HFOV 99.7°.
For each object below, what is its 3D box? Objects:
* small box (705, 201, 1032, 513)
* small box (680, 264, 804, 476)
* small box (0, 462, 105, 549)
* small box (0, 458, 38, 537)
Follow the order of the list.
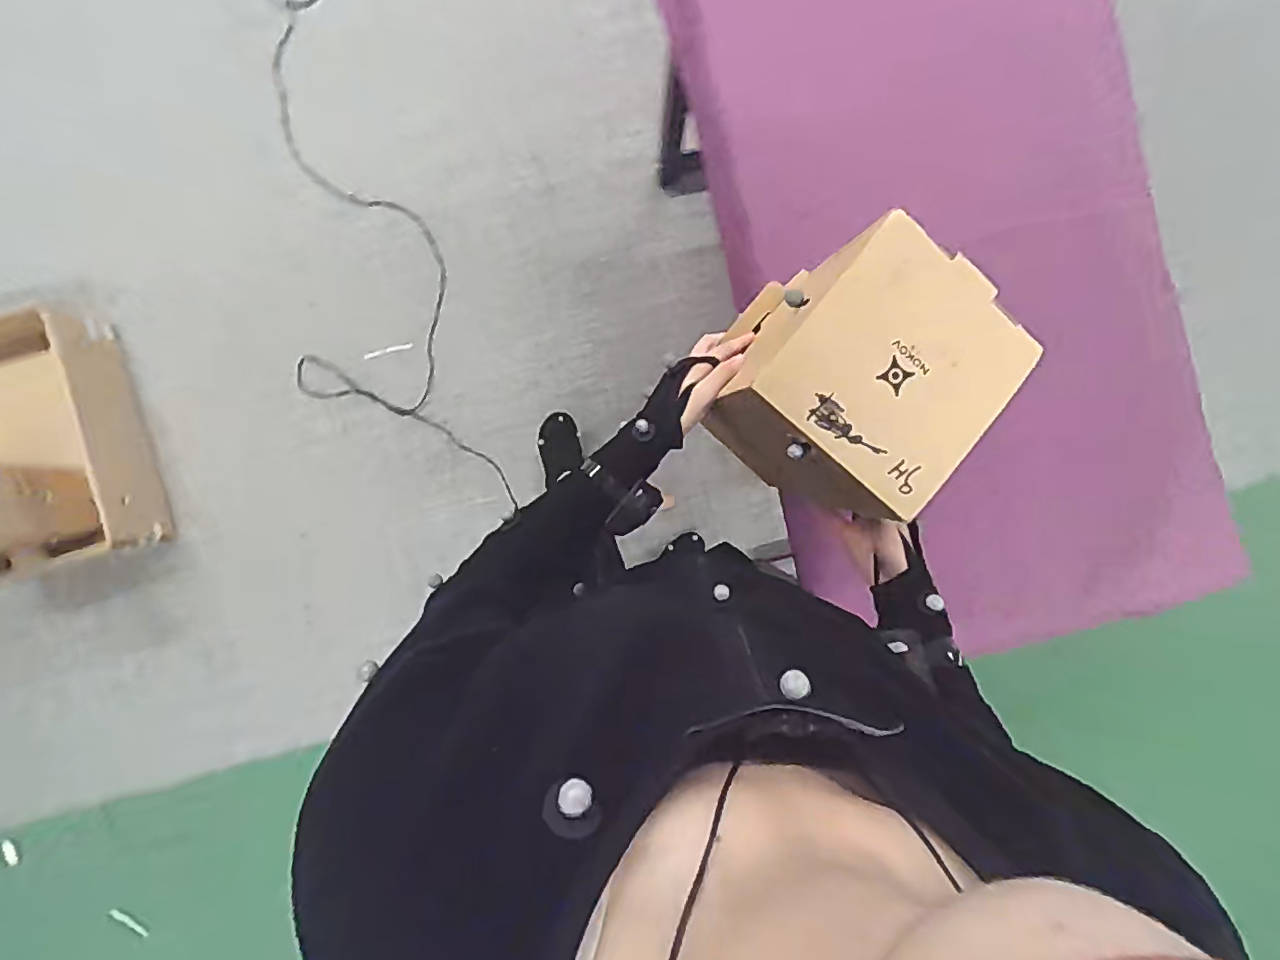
[{"bbox_3d":[0.180,-0.095,0.483,0.168,0.176,0.179,39,88,-6],"label":"small box"},{"bbox_3d":[0.169,-0.114,0.648,0.179,0.176,0.168,41,88,-6],"label":"small box"},{"bbox_3d":[-1.497,0.062,1.340,0.168,0.176,0.179,-19,88,-3],"label":"small box"},{"bbox_3d":[-1.485,0.047,1.178,0.179,0.176,0.168,-15,89,-3],"label":"small box"}]
